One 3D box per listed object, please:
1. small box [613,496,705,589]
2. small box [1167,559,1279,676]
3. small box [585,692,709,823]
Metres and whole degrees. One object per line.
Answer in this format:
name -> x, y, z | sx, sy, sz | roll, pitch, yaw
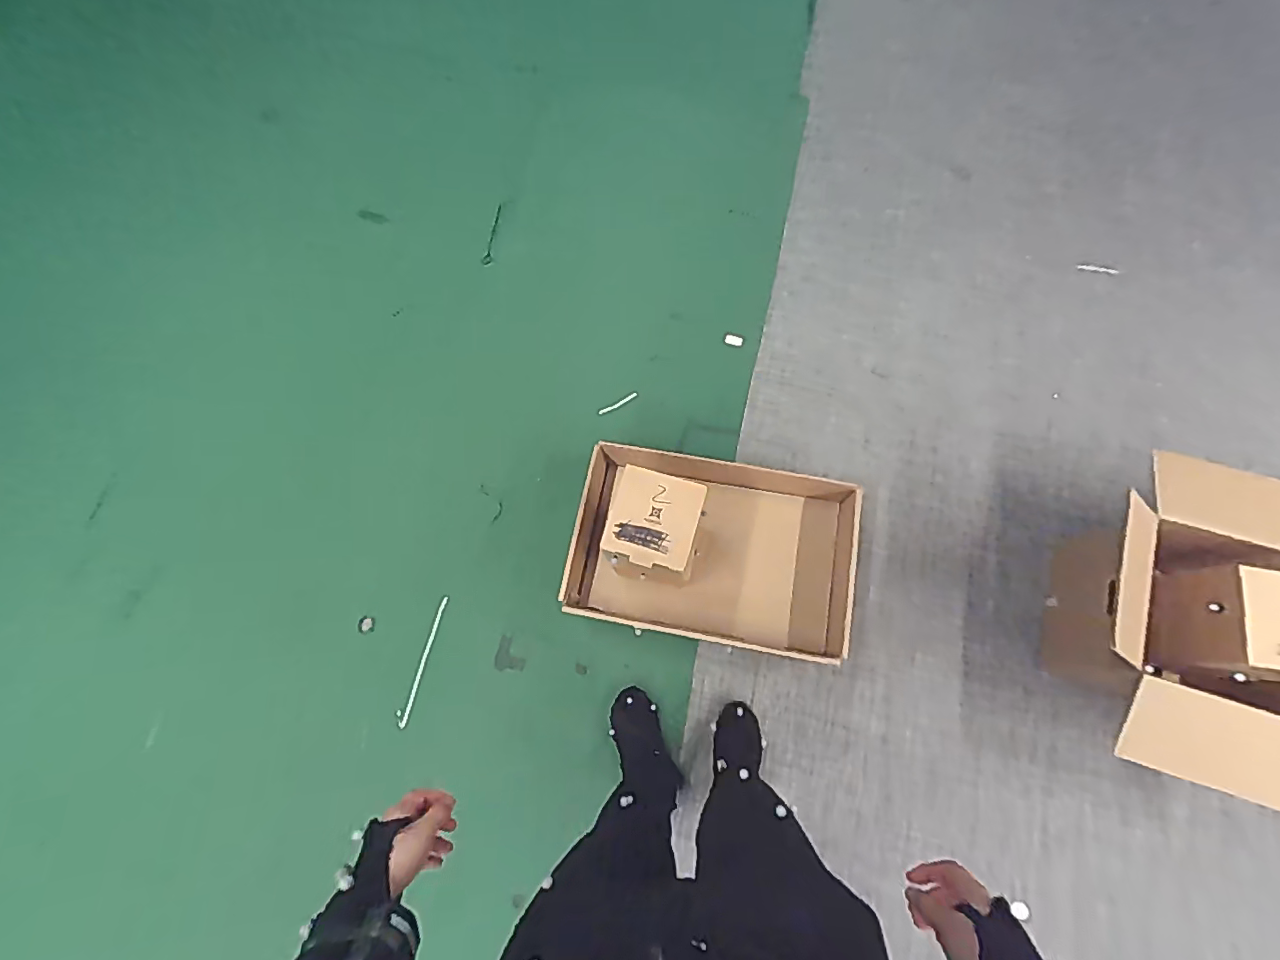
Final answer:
small box -> 0.047, 0.151, 1.254 | 0.179, 0.176, 0.168 | 11, 73, 6
small box -> 1.136, 0.259, 1.004 | 0.168, 0.176, 0.179 | 9, 74, 9
small box -> 0.021, 0.585, 1.157 | 0.176, 0.168, 0.179 | 47, 56, -15
